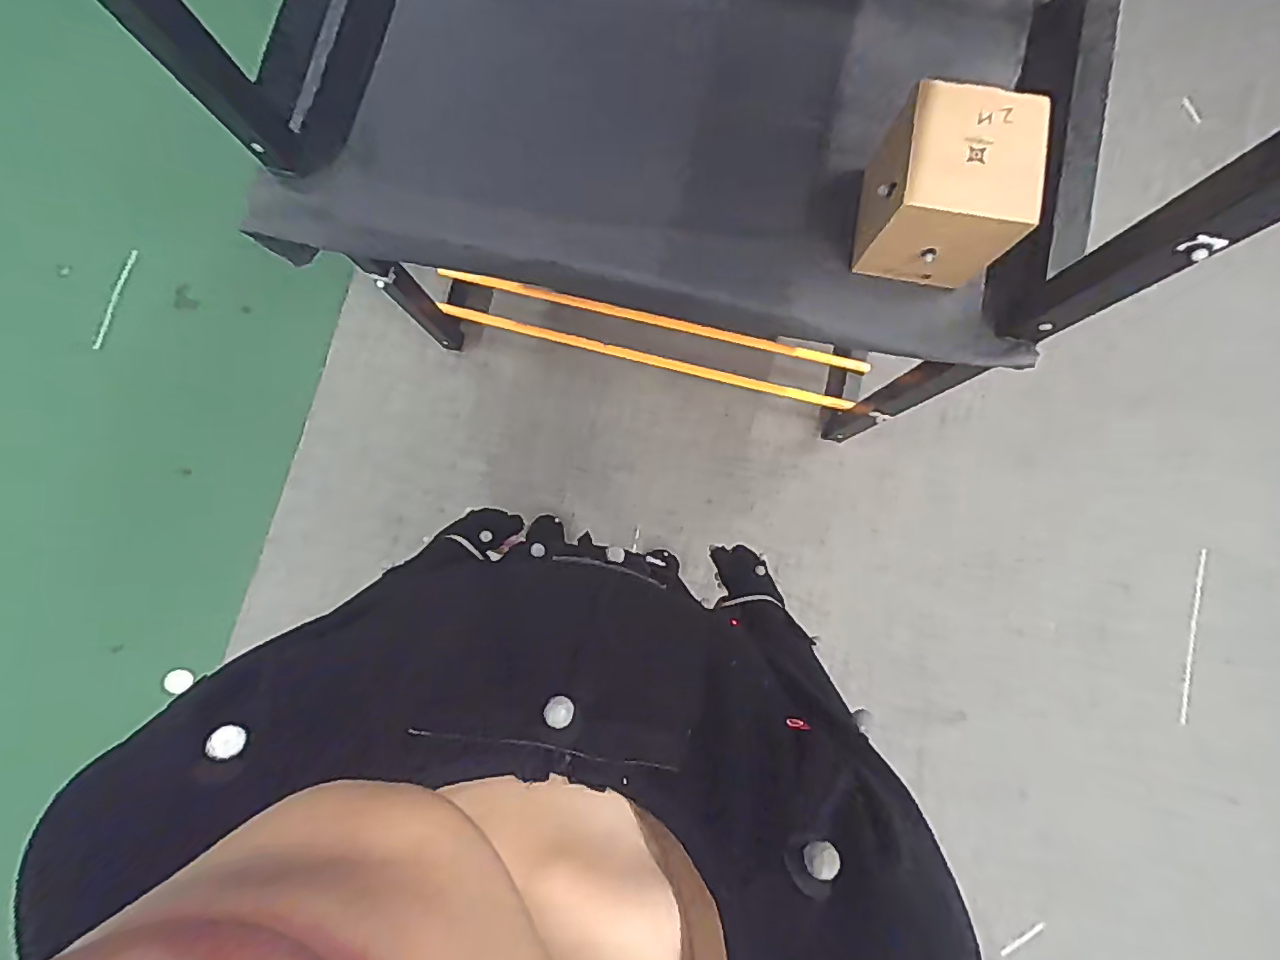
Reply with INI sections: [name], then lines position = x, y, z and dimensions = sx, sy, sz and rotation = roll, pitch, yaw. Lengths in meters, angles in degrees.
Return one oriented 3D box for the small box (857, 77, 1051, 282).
[small box]
position = 0.416, -0.398, 0.745
dimensions = 0.168, 0.176, 0.179
rotation = 10, 83, 1
